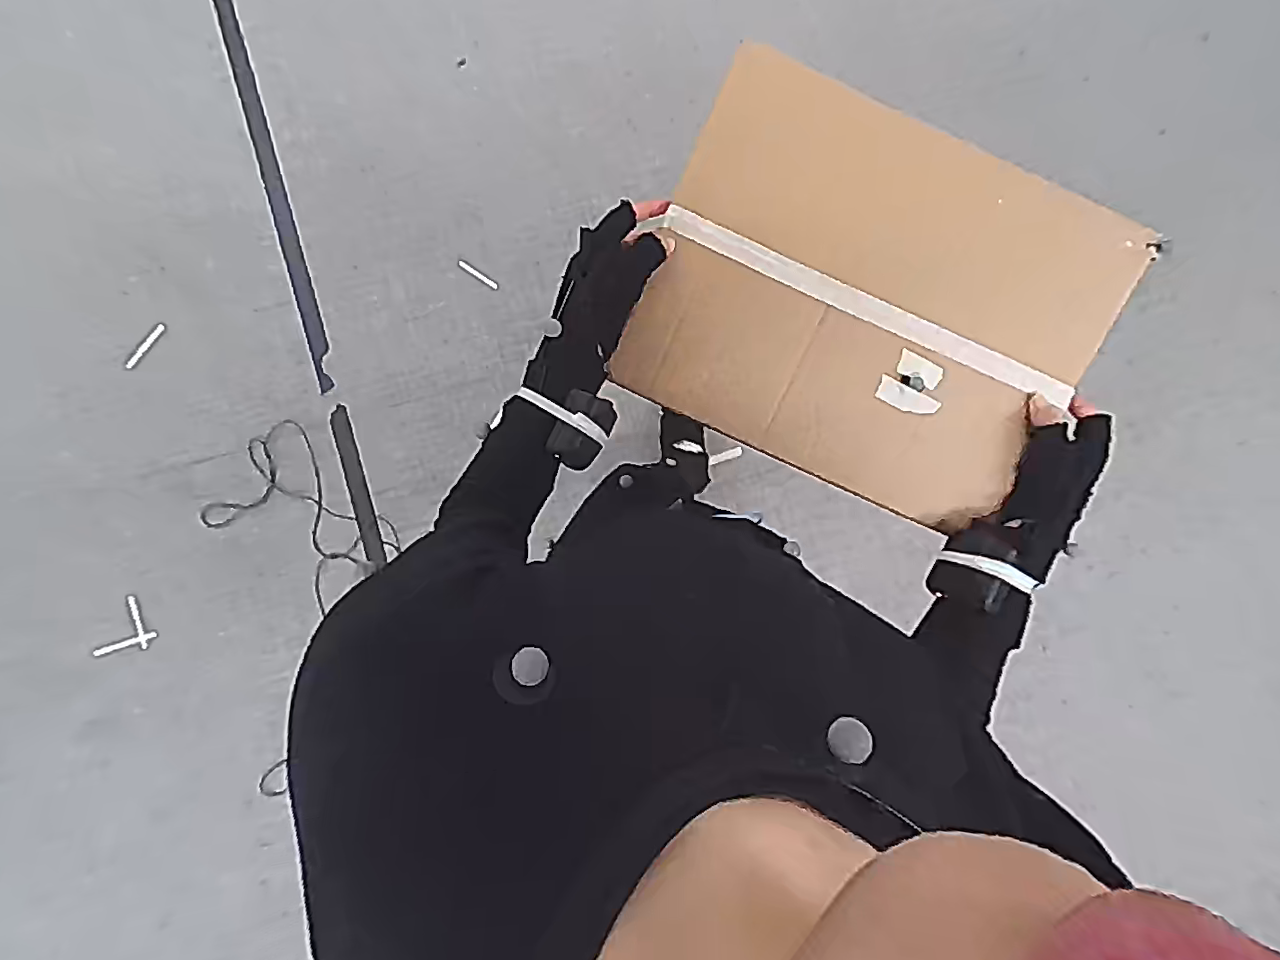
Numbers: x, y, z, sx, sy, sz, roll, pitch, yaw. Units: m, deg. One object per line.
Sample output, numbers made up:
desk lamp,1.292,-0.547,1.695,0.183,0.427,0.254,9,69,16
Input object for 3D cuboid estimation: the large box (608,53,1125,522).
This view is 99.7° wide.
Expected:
large box,0.210,-0.195,0.660,0.408,0.320,0.320,24,101,-2
